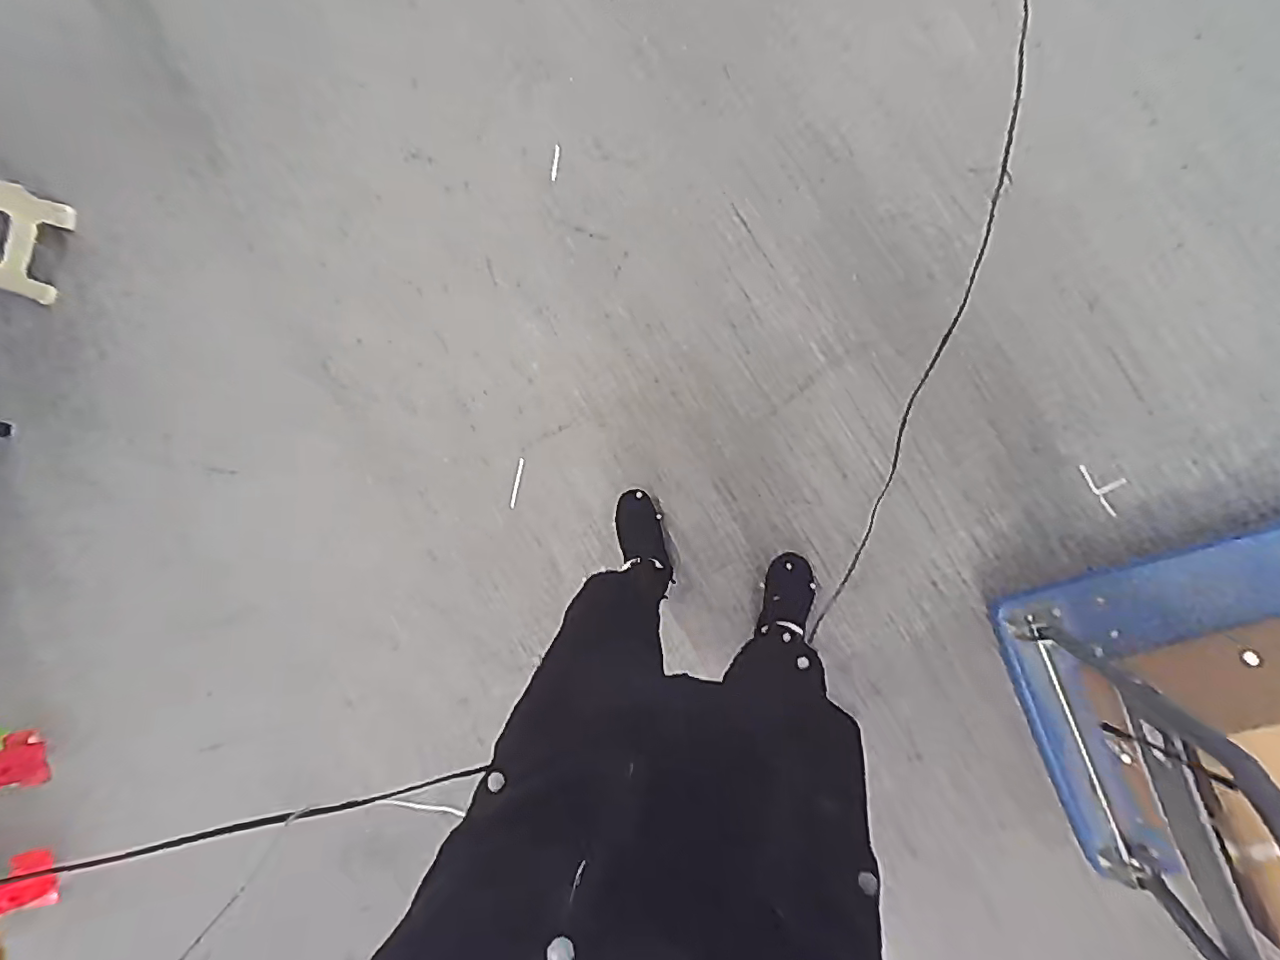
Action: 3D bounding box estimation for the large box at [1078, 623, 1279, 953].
[{"bbox_3d":[1.048,0.452,0.859,0.408,0.320,0.320,-21,86,13],"label":"large box"}]
